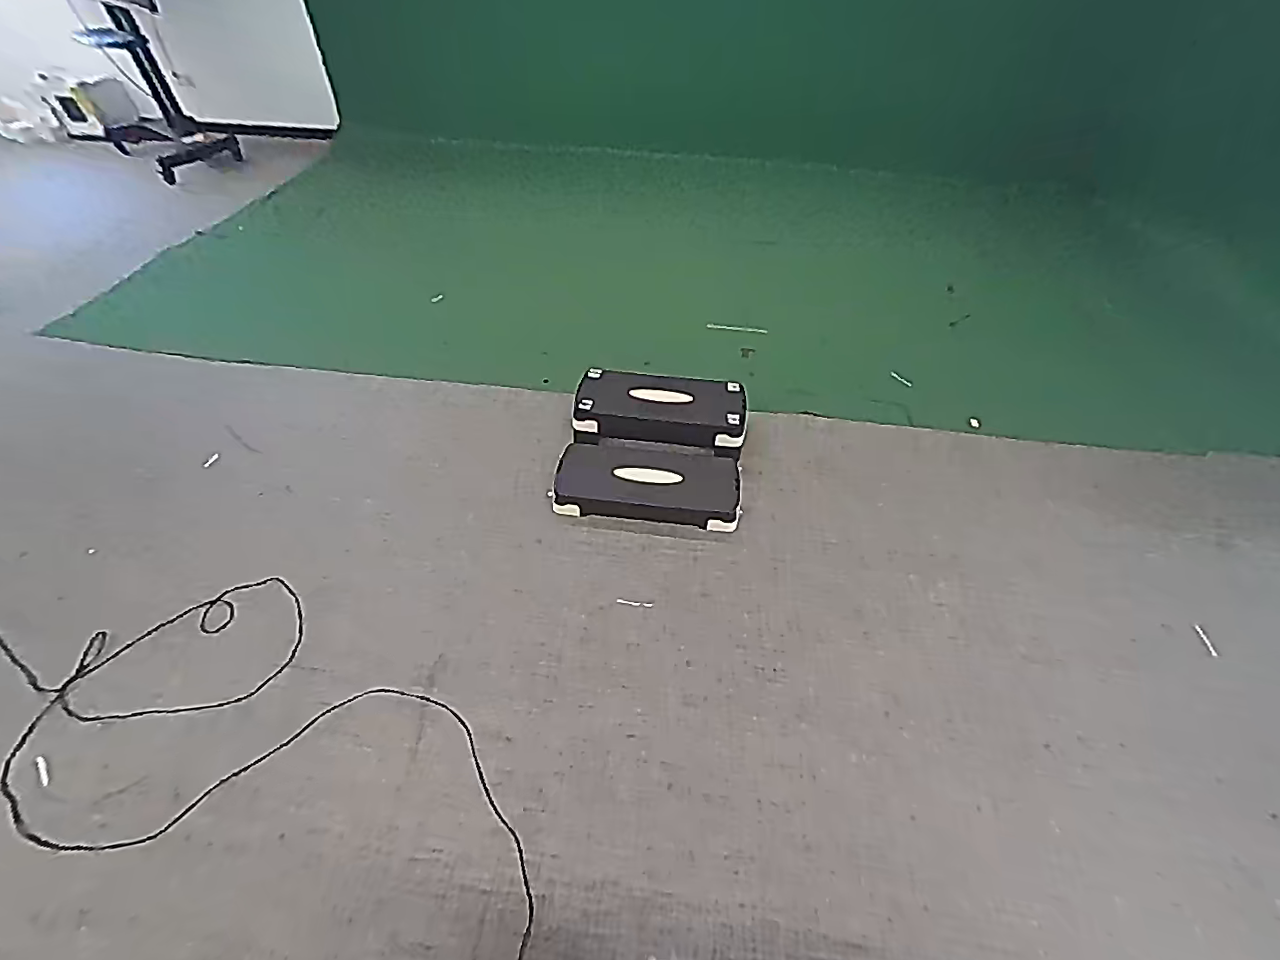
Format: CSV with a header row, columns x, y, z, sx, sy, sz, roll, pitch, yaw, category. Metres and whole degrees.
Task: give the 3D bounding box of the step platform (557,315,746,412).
x,y,z,sx,sy,sz,roll,pitch,yaw,category
0.042,-0.437,2.029,0.684,0.204,0.286,5,48,4,step platform
